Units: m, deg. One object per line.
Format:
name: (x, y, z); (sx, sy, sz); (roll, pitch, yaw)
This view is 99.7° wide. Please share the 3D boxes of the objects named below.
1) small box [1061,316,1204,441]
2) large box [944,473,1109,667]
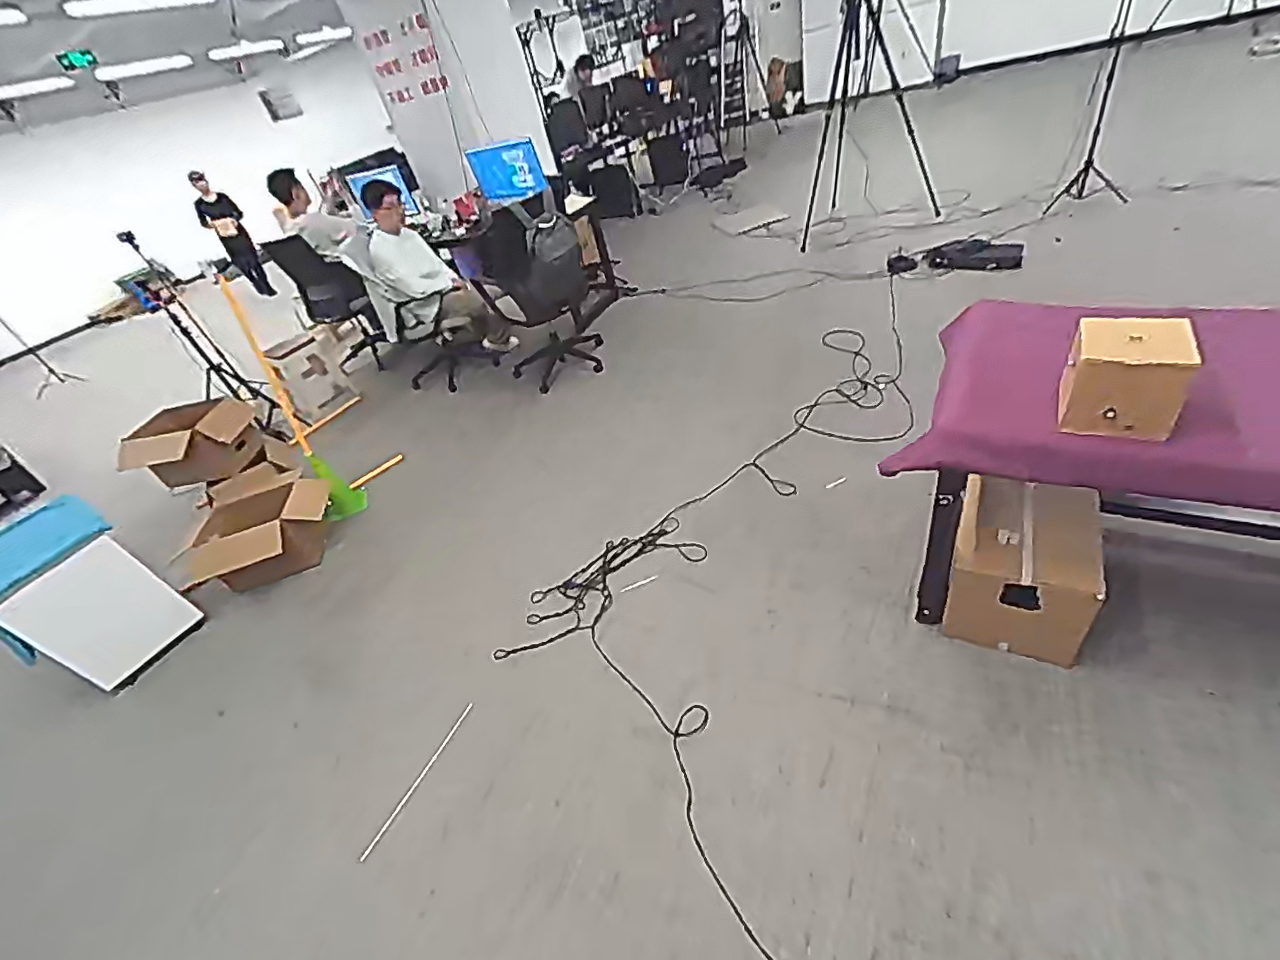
small box: (0.944, -0.201, 1.055); (0.168, 0.176, 0.179); (11, 46, 30)
large box: (1.078, 0.241, 1.538); (0.320, 0.320, 0.408); (10, 47, 30)
